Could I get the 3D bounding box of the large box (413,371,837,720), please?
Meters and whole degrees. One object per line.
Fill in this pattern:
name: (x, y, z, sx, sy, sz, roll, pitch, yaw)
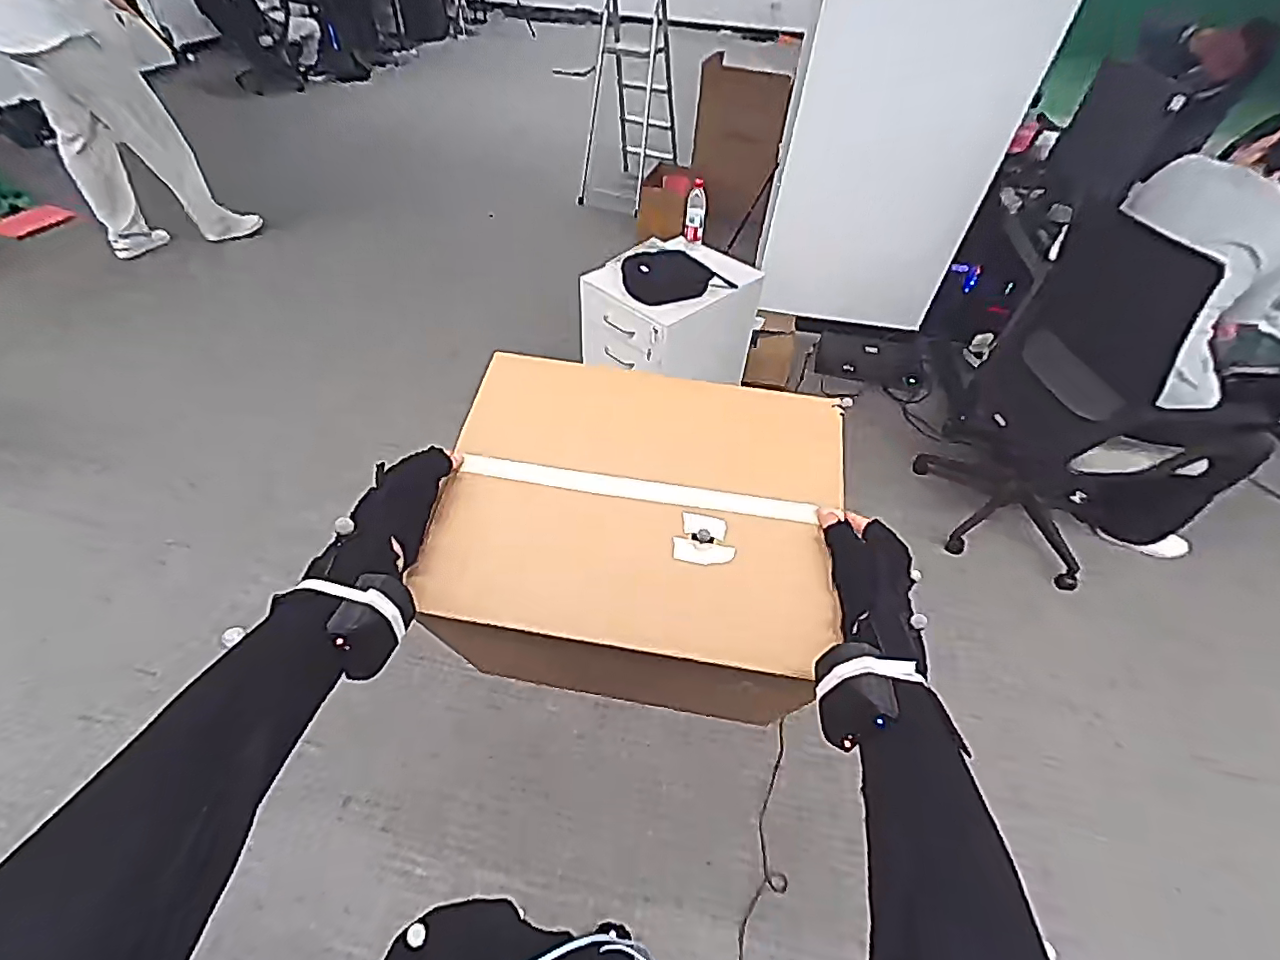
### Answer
large box: (-0.003, 0.098, 0.697, 0.408, 0.320, 0.320, 9, 60, 3)
